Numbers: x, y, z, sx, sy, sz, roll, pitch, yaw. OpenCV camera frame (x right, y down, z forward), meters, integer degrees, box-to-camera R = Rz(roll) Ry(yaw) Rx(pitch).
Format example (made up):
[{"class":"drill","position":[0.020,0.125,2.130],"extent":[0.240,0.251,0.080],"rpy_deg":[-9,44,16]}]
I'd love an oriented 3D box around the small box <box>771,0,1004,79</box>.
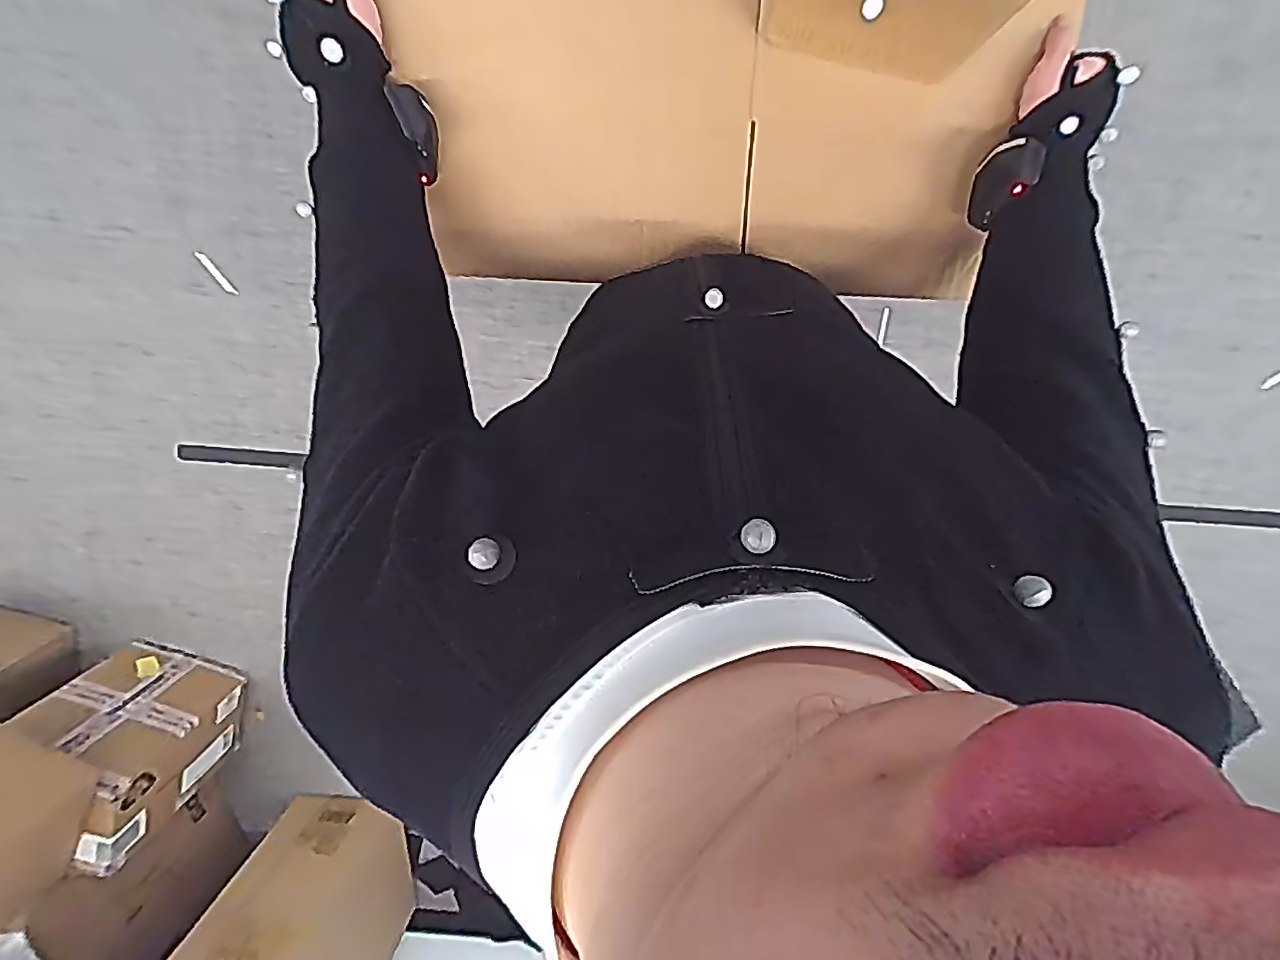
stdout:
[{"class":"small box","position":[0.217,-0.460,0.428],"extent":[0.179,0.176,0.168],"rpy_deg":[13,104,-1]}]
